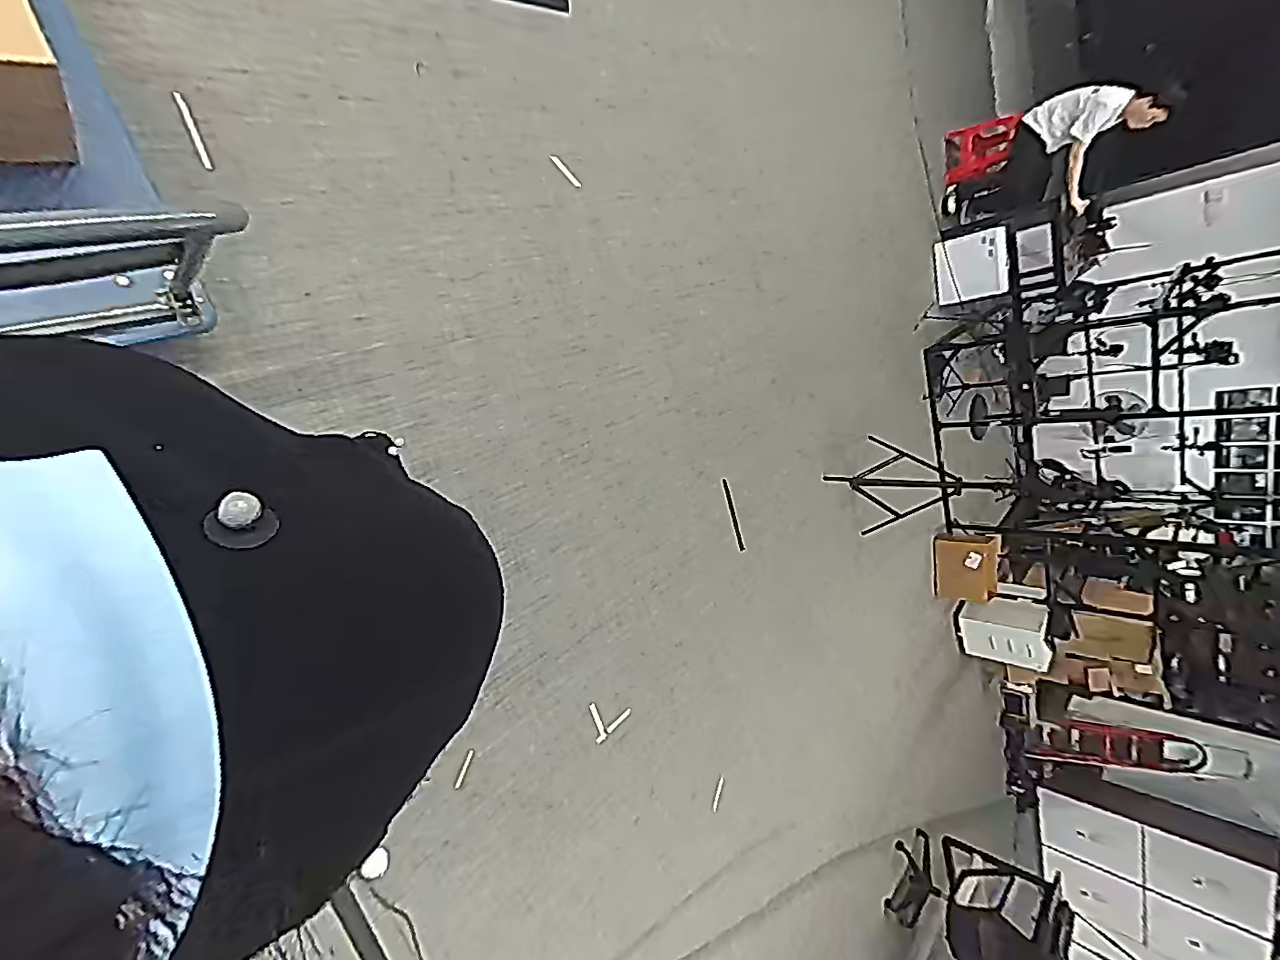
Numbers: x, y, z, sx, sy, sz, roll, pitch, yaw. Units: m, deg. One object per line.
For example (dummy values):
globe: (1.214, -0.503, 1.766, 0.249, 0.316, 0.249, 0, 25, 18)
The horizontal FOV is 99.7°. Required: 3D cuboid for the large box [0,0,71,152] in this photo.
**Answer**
large box: (-1.058, -0.628, 0.662, 0.408, 0.320, 0.320, -28, 108, -38)
